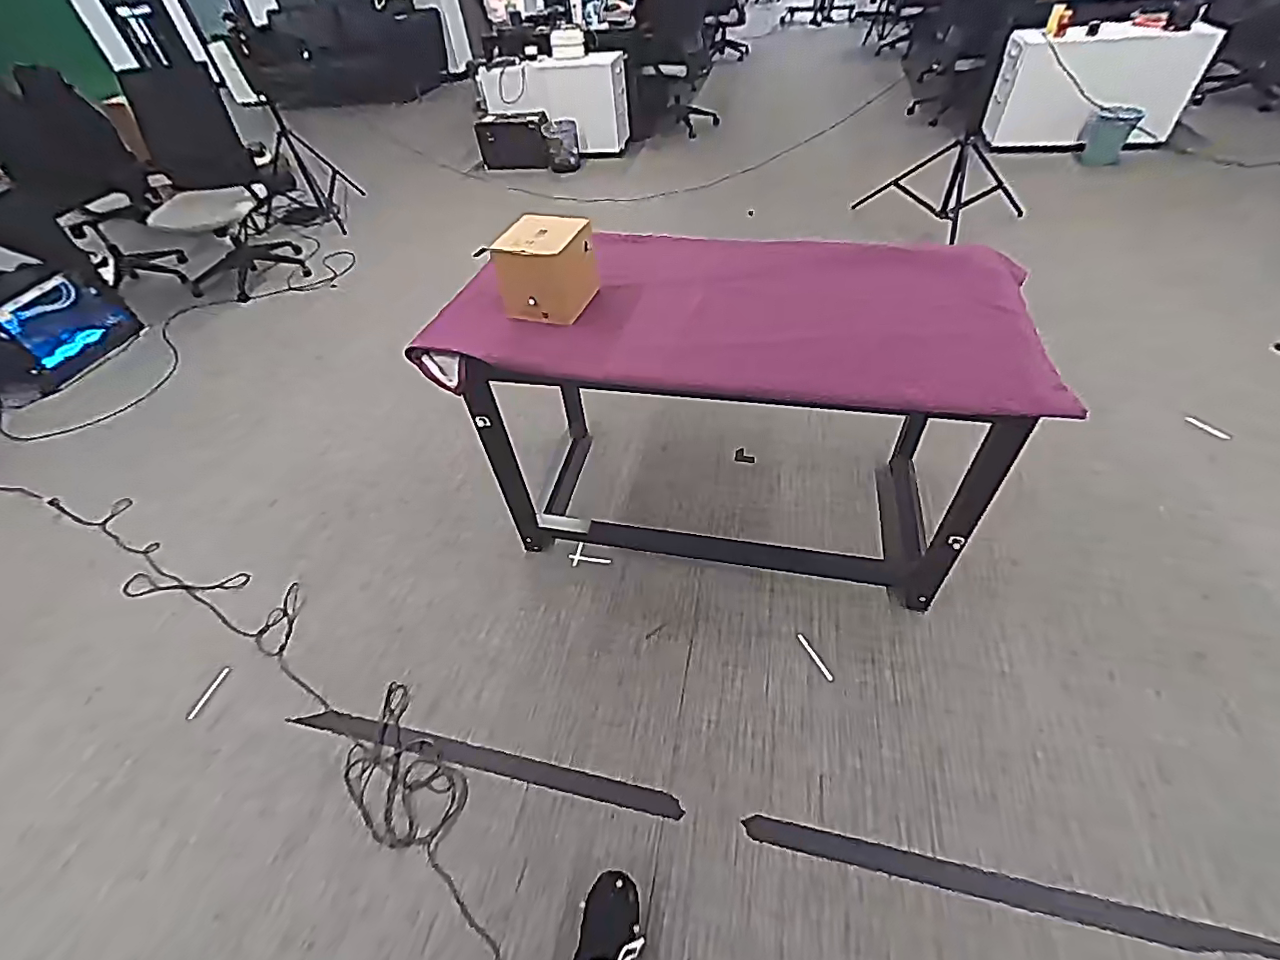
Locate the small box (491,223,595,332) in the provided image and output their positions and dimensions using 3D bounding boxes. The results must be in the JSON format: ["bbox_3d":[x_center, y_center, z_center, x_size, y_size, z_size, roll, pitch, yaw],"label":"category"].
[{"bbox_3d":[-0.213,-0.468,1.248,0.168,0.176,0.179,12,50,16],"label":"small box"}]
